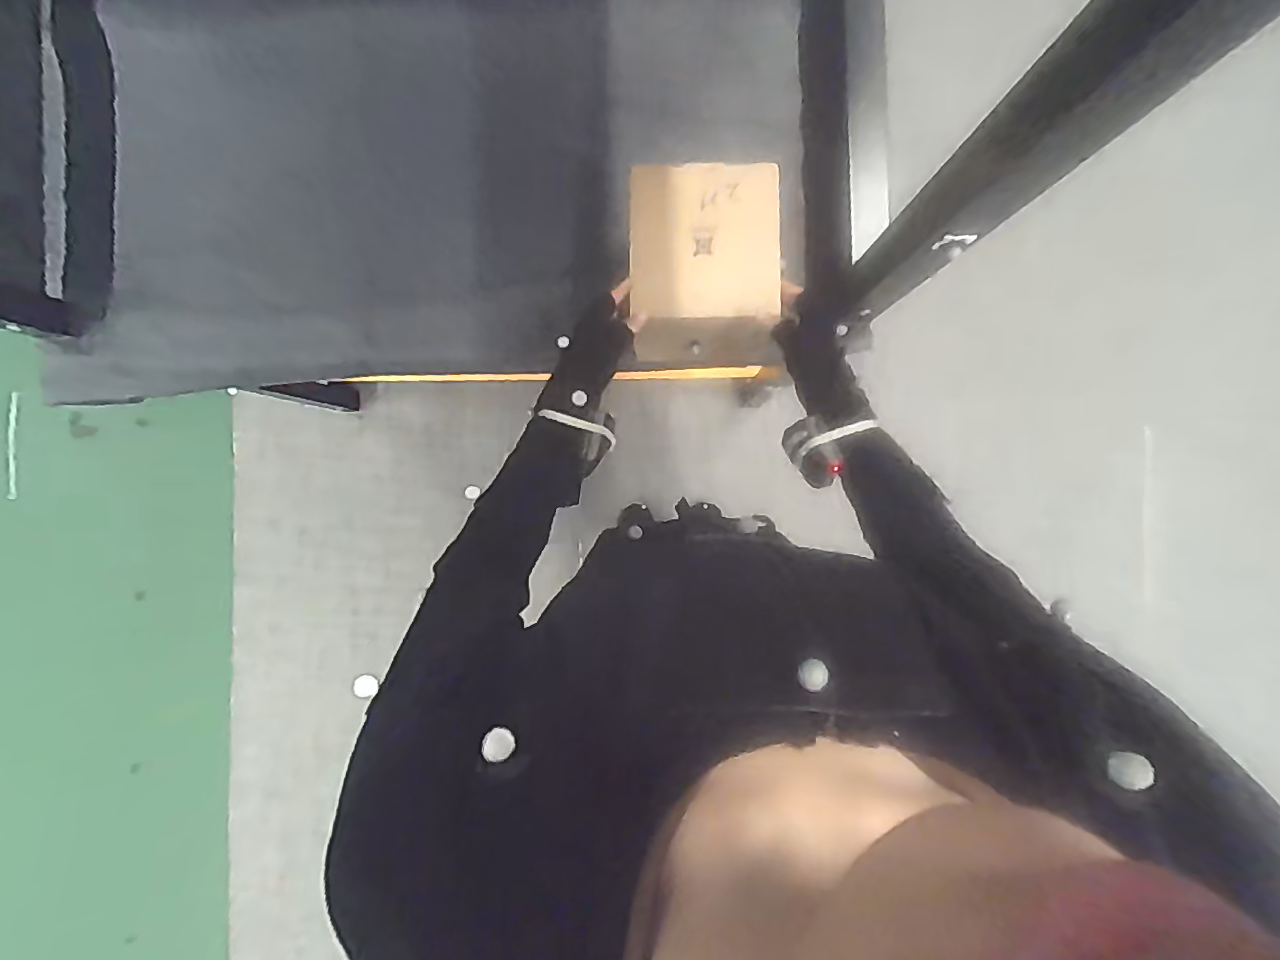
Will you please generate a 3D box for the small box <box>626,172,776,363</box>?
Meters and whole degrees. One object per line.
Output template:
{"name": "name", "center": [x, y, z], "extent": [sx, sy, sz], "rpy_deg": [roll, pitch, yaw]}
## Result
{"name": "small box", "center": [0.072, -0.249, 0.675], "extent": [0.168, 0.176, 0.179], "rpy_deg": [0, 86, 3]}
